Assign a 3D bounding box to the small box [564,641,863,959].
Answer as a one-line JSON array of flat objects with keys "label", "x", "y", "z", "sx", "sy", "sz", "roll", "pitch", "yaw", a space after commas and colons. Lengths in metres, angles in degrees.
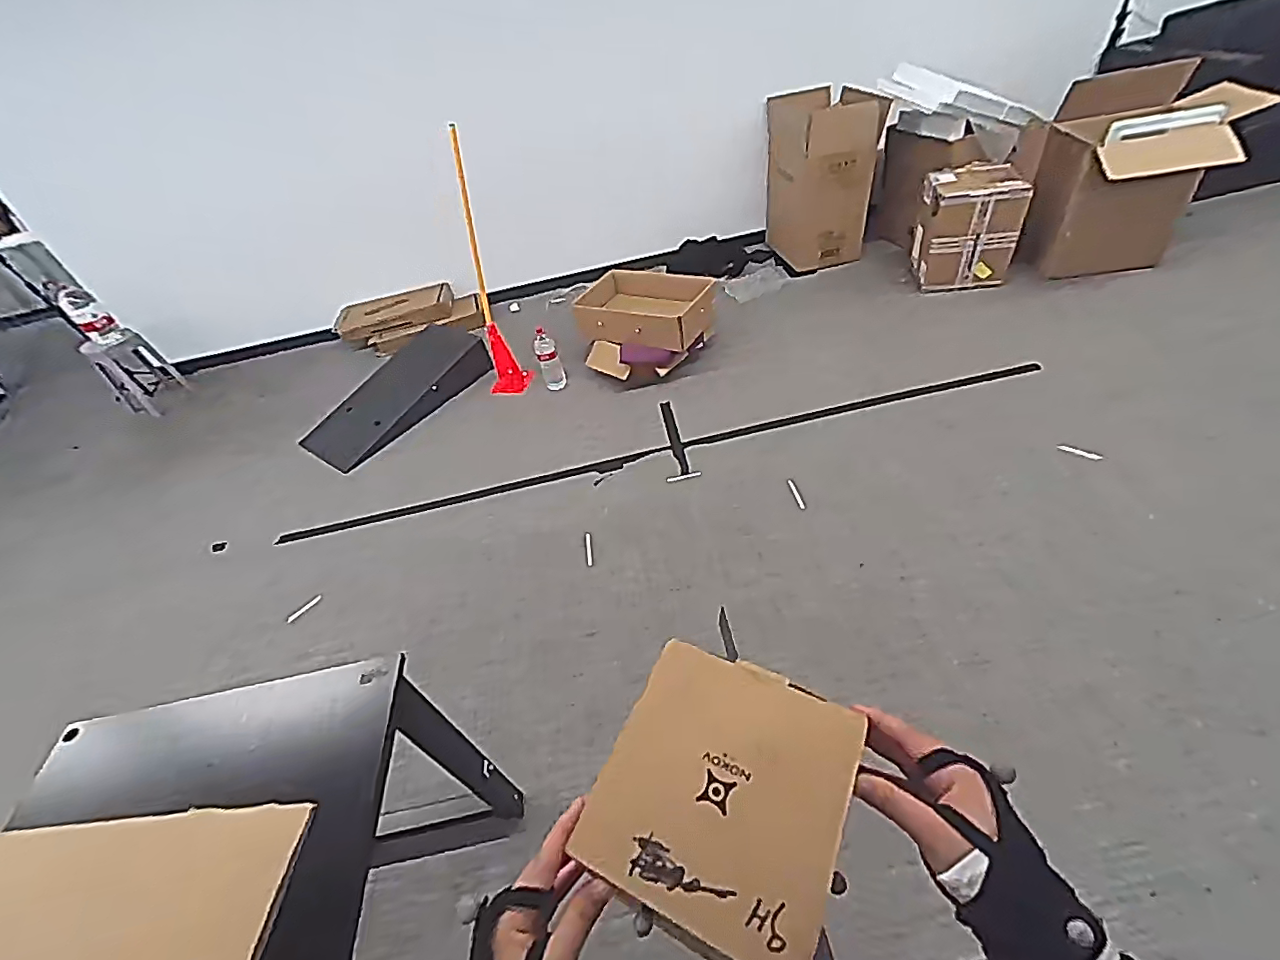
[{"label": "small box", "x": 0.067, "y": 0.272, "z": 0.439, "sx": 0.168, "sy": 0.176, "sz": 0.179, "roll": 15, "pitch": 49, "yaw": 26}]
